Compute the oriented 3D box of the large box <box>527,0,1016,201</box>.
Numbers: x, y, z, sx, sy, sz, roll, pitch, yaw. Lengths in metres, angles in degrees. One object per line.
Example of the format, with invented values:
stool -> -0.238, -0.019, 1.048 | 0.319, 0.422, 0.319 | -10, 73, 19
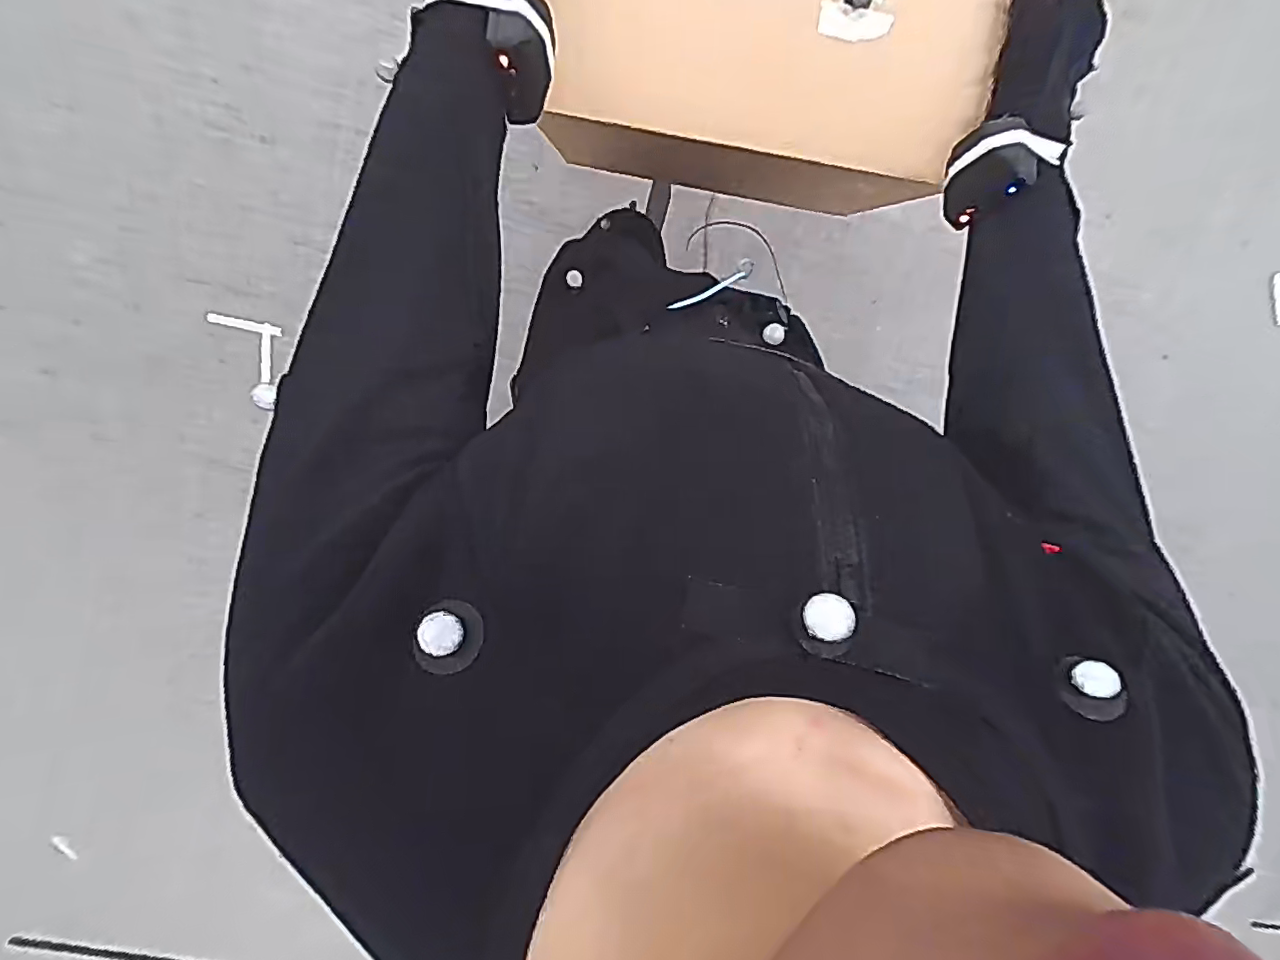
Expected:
large box -> 0.119, -0.505, 0.562 | 0.408, 0.320, 0.320 | 9, 113, -3
